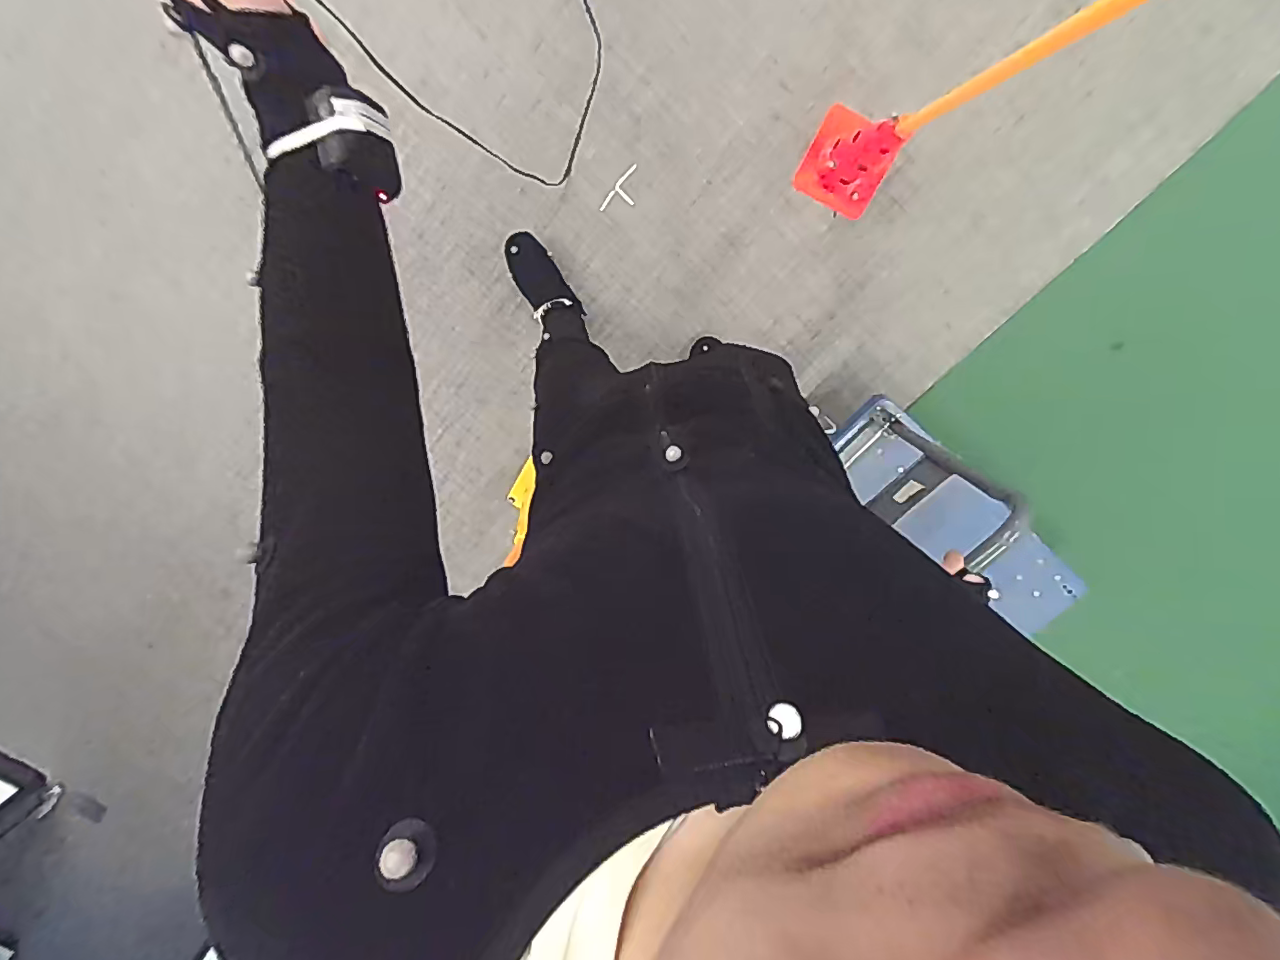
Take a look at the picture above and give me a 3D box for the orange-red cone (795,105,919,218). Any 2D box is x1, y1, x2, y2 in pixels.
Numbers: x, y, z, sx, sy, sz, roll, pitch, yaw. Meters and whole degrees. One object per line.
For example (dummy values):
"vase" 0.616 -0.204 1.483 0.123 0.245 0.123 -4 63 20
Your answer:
"orange-red cone" 0.503 -0.720 1.167 0.198 0.360 0.199 26 108 -8
